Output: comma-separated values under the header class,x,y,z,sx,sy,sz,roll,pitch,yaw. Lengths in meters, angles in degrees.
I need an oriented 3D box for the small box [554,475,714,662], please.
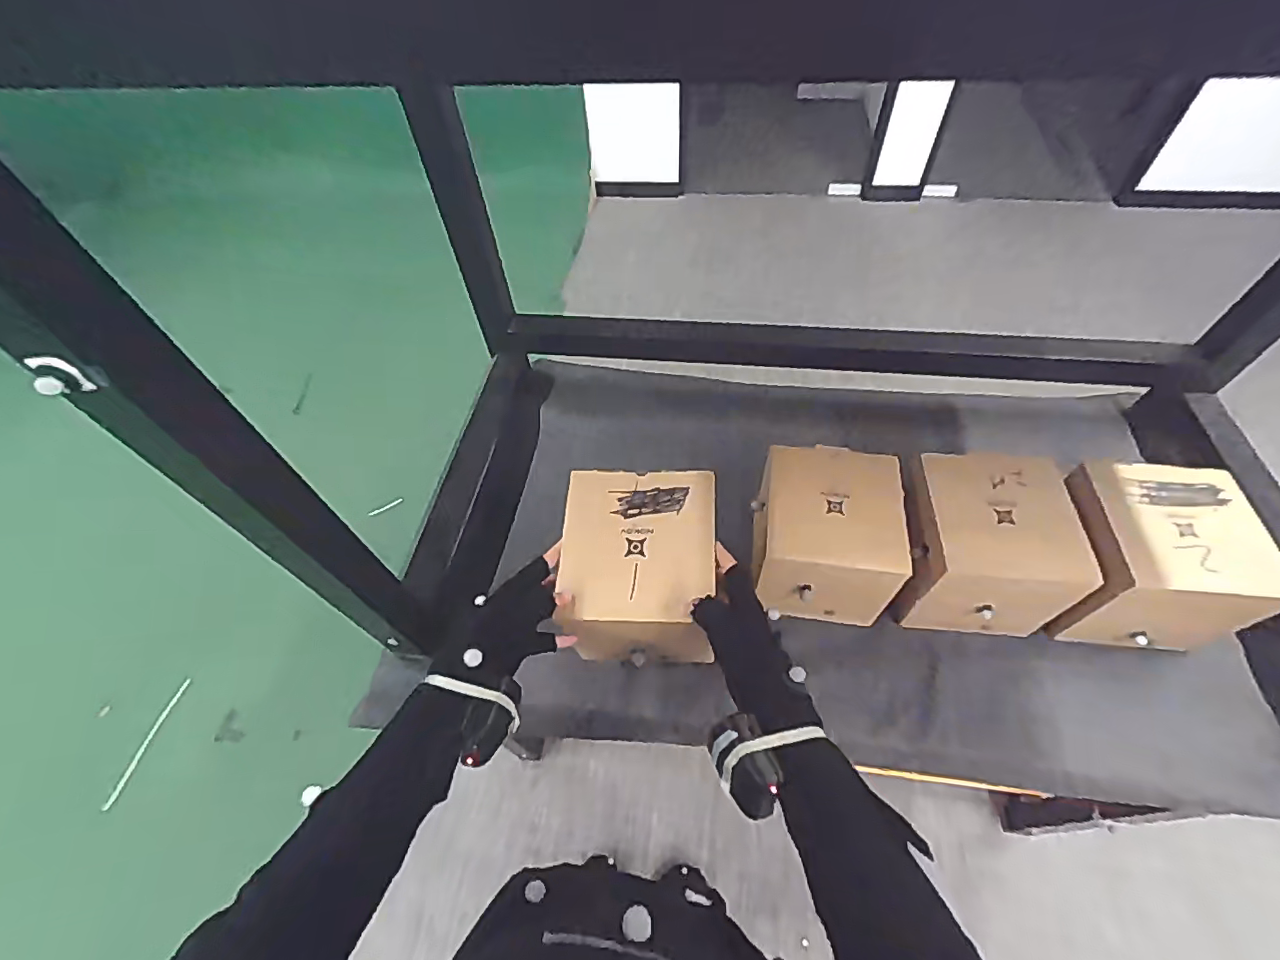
class,x,y,z,sx,sy,sz,roll,pitch,yaw
small box,0.004,0.110,0.655,0.168,0.176,0.179,-1,60,6
